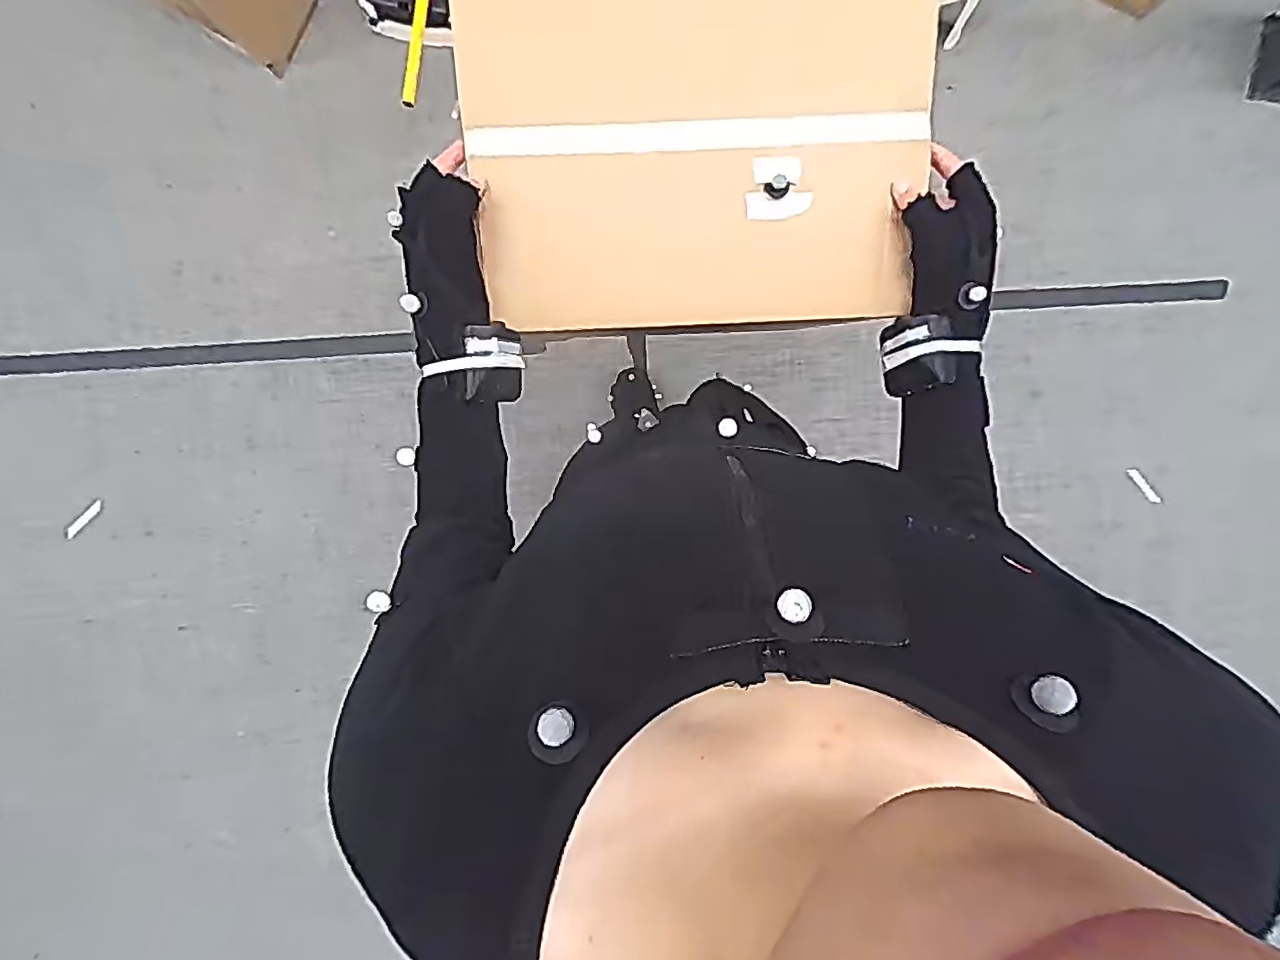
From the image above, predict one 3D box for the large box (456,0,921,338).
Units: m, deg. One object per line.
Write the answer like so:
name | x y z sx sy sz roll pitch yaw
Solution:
large box | 0.041 -0.340 0.627 0.408 0.320 0.320 -3 103 -2
